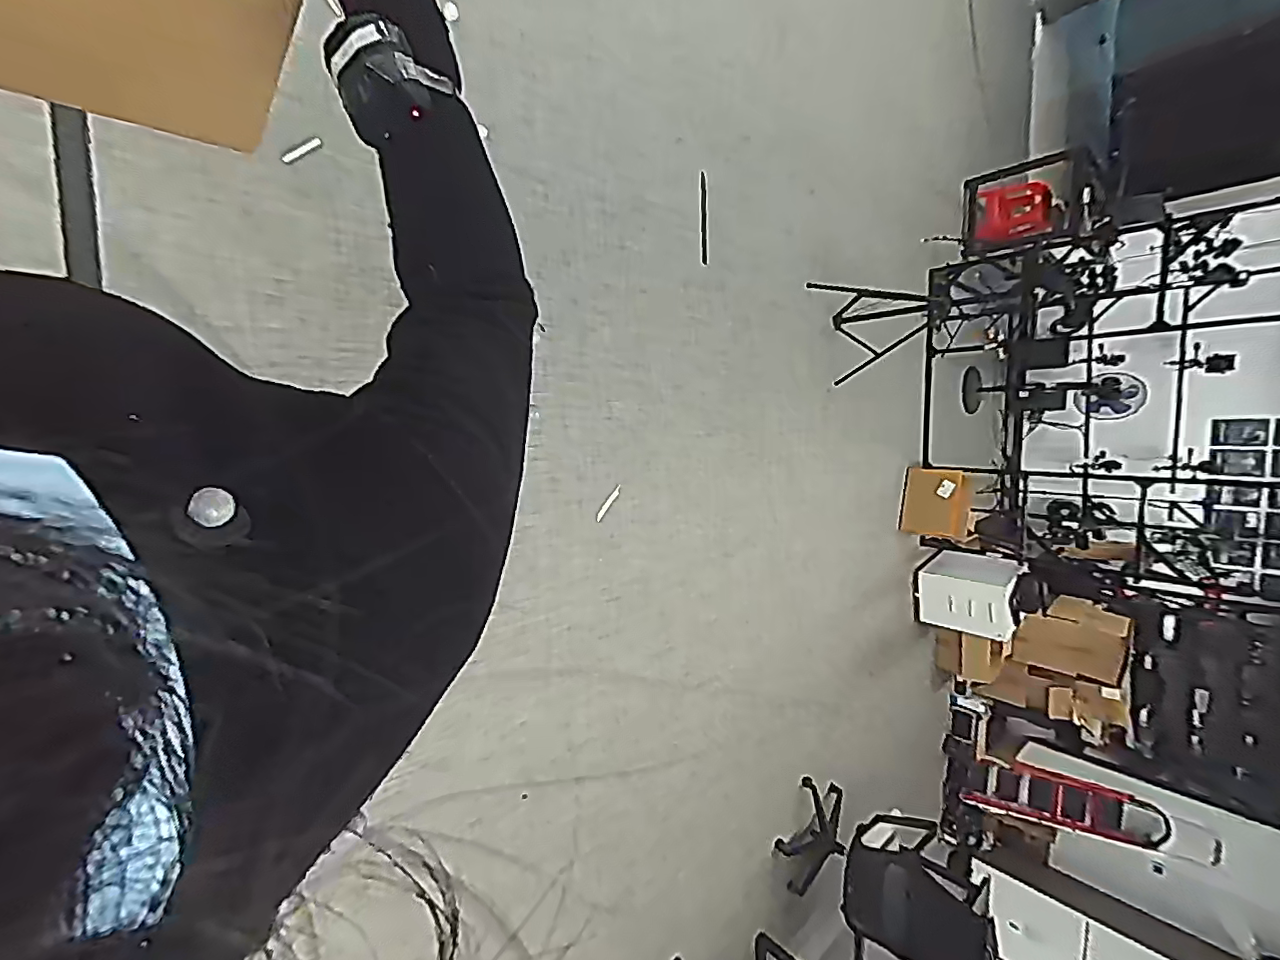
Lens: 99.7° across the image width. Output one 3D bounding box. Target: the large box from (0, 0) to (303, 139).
[{"bbox_3d":[-0.475,-0.487,0.334,0.408,0.320,0.320,-7,95,-42],"label":"large box"}]
